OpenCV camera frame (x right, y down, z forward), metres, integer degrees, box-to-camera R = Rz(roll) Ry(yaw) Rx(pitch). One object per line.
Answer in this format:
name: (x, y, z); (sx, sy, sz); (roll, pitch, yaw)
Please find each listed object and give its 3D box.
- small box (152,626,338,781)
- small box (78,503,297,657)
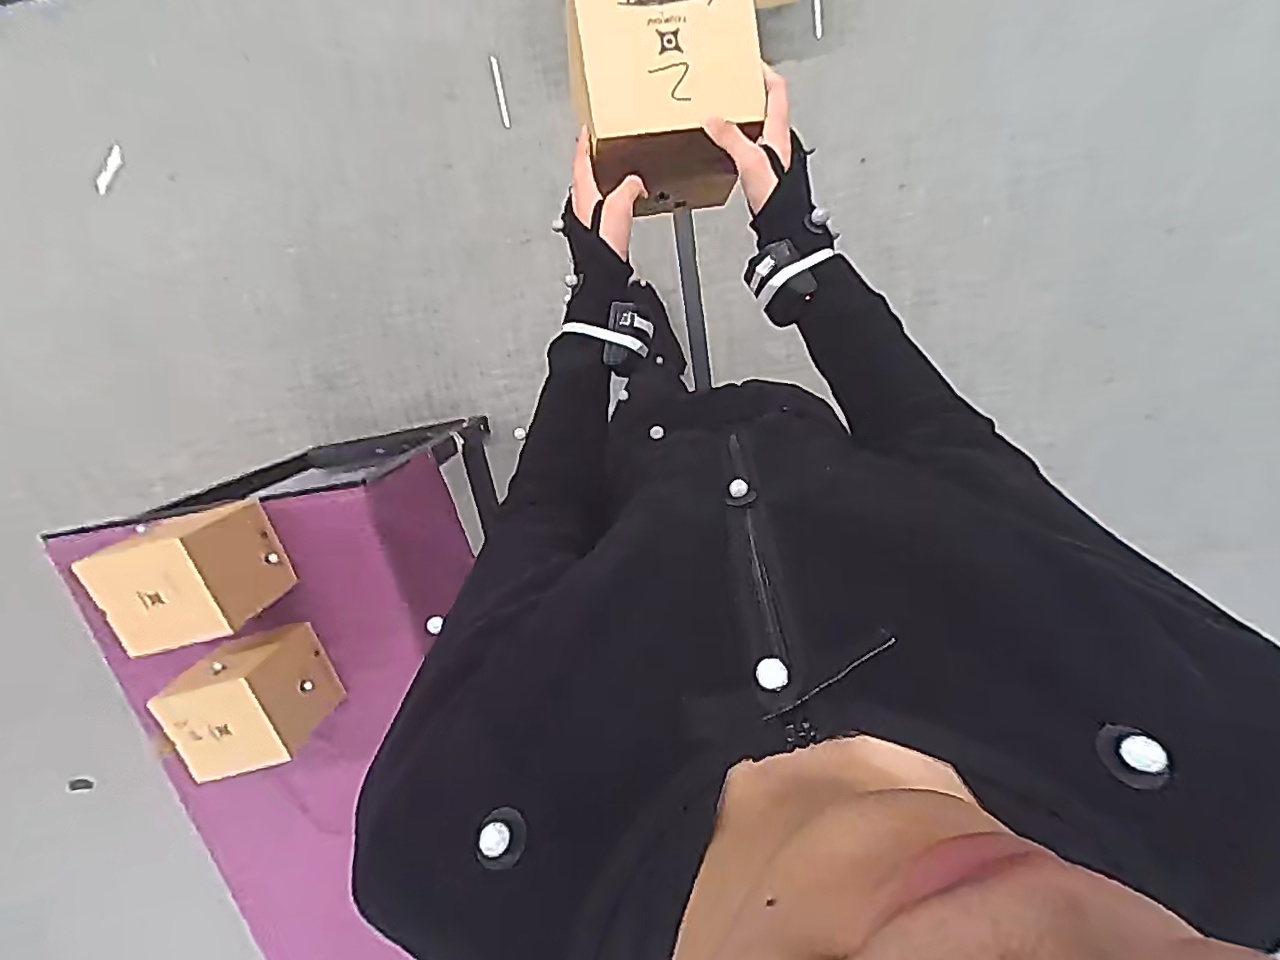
small box: (-0.663, 0.379, 0.940); (0.179, 0.176, 0.168); (-15, 106, 6)
small box: (-0.710, 0.153, 0.873); (0.179, 0.176, 0.168); (-14, 108, 6)
